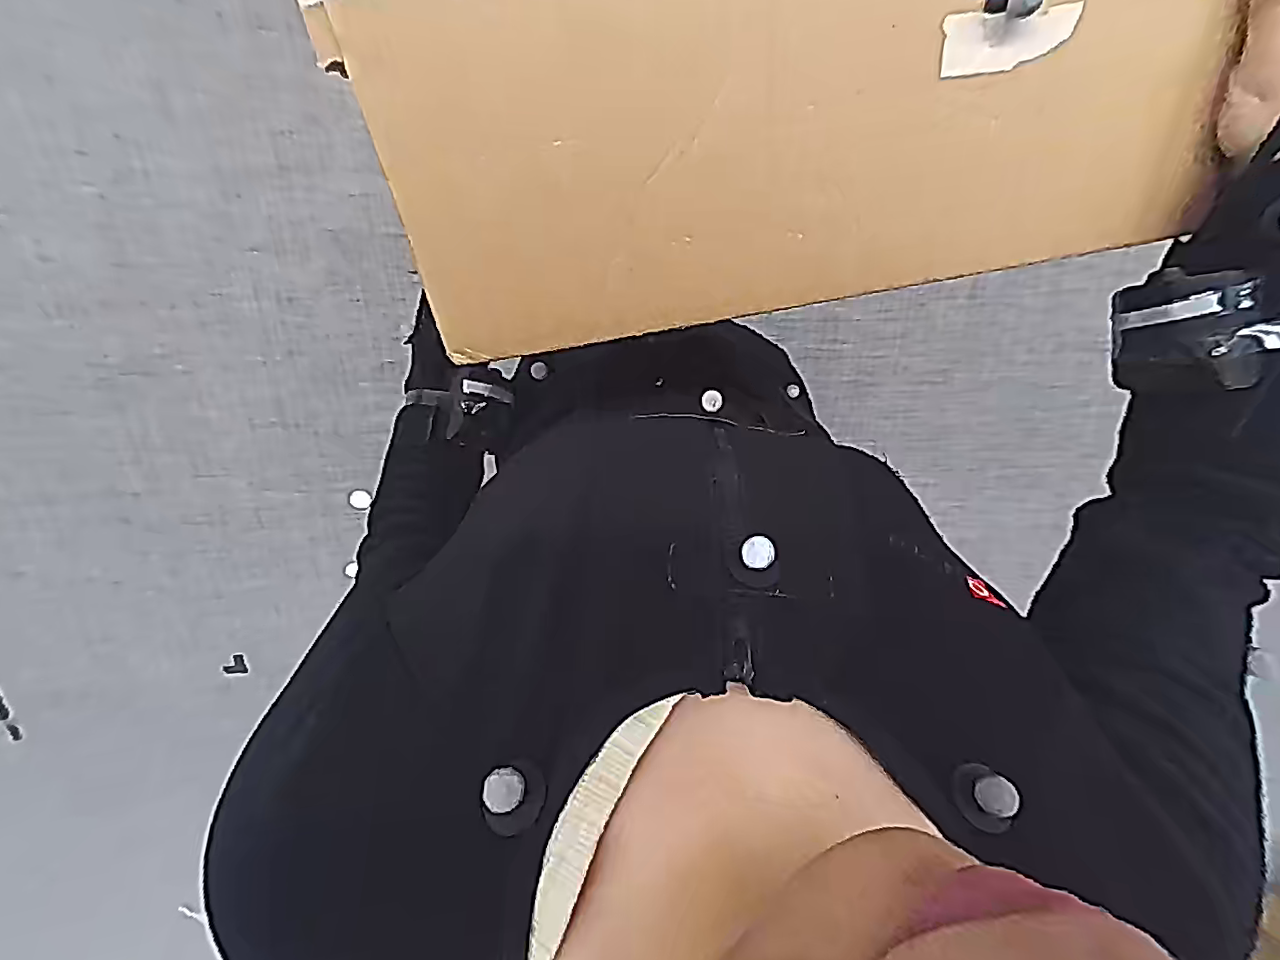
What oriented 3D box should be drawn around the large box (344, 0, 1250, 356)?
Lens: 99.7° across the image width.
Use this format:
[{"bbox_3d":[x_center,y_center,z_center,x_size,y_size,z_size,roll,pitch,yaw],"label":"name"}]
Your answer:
[{"bbox_3d":[0.054,-0.309,0.335,0.408,0.320,0.320,-12,124,-3],"label":"large box"}]
